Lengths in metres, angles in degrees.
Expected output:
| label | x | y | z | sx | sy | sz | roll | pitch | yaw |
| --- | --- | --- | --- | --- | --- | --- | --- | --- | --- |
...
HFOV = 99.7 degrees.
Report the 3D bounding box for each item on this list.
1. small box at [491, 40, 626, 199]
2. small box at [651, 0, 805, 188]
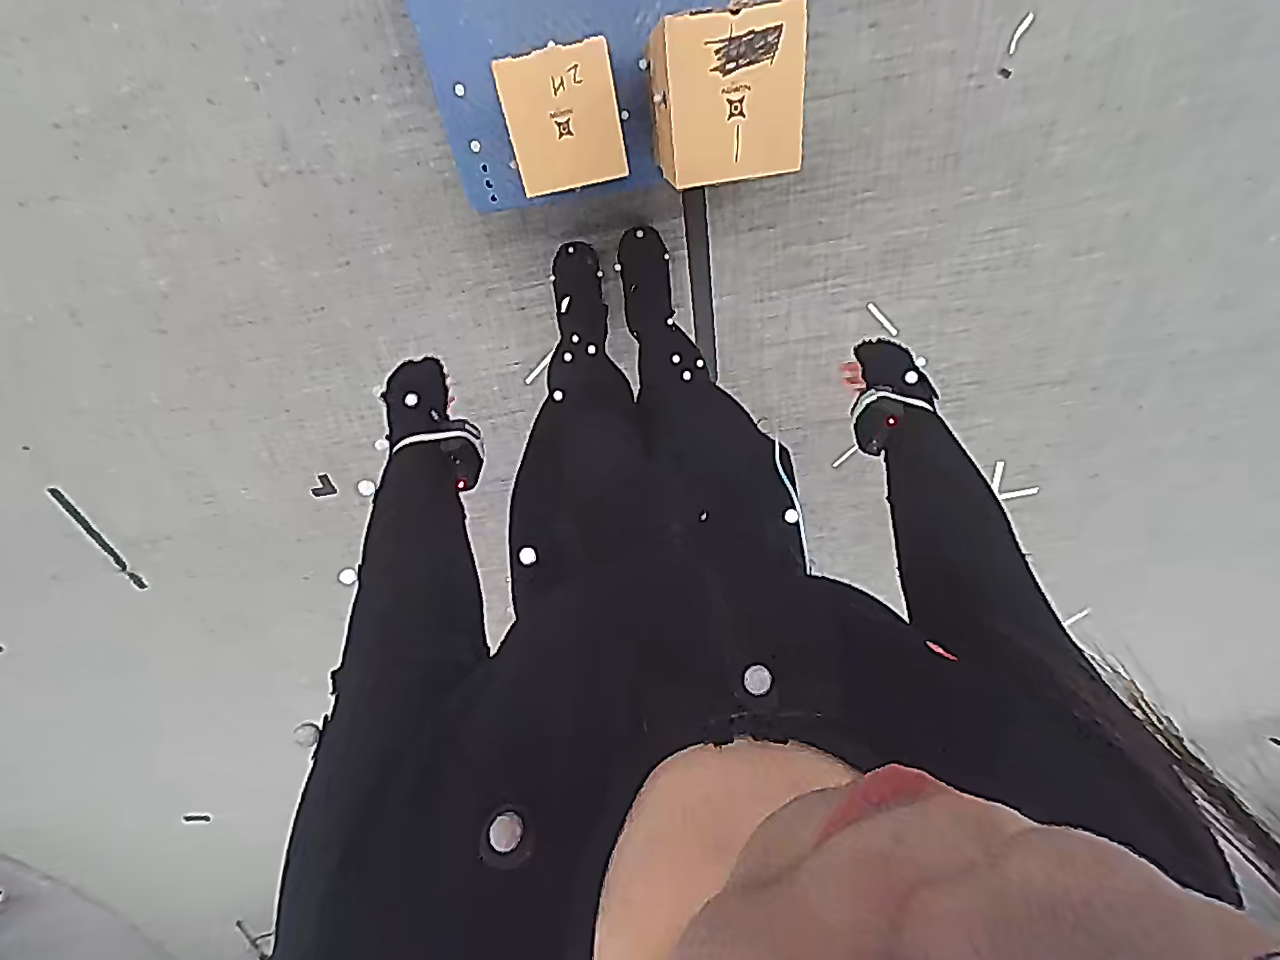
| label | x | y | z | sx | sy | sz | roll | pitch | yaw |
| --- | --- | --- | --- | --- | --- | --- | --- | --- | --- |
| small box | -0.119 | -0.570 | 0.861 | 0.168 | 0.176 | 0.179 | -11 | 124 | 2 |
| small box | 0.110 | -0.506 | 0.722 | 0.168 | 0.176 | 0.179 | -8 | 125 | 1 |
